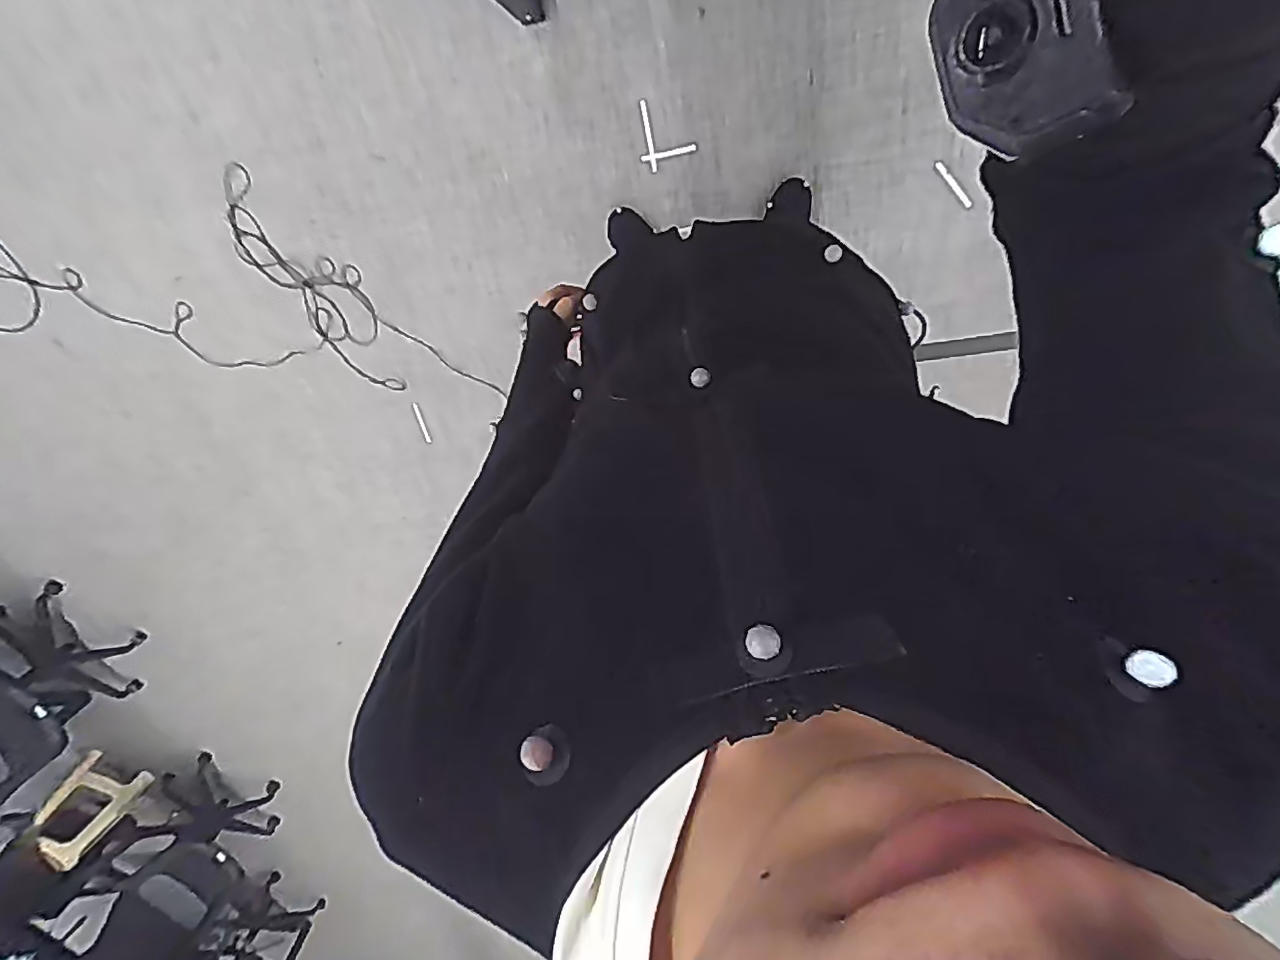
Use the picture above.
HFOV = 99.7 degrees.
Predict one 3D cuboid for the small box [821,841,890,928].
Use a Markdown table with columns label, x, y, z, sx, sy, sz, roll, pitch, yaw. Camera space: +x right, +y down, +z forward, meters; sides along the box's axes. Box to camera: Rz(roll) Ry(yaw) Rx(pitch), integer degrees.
| label | x | y | z | sx | sy | sz | roll | pitch | yaw |
| --- | --- | --- | --- | --- | --- | --- | --- | --- | --- |
| small box | 0.670 | 1.259 | 1.684 | 0.168 | 0.176 | 0.179 | -10 | 118 | 10 |

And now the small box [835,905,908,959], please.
| label | x | y | z | sx | sy | sz | roll | pitch | yaw |
| --- | --- | --- | --- | --- | --- | --- | --- | --- | --- |
| small box | 0.668 | 1.350 | 1.546 | 0.168 | 0.176 | 0.179 | -13 | 118 | 12 |
